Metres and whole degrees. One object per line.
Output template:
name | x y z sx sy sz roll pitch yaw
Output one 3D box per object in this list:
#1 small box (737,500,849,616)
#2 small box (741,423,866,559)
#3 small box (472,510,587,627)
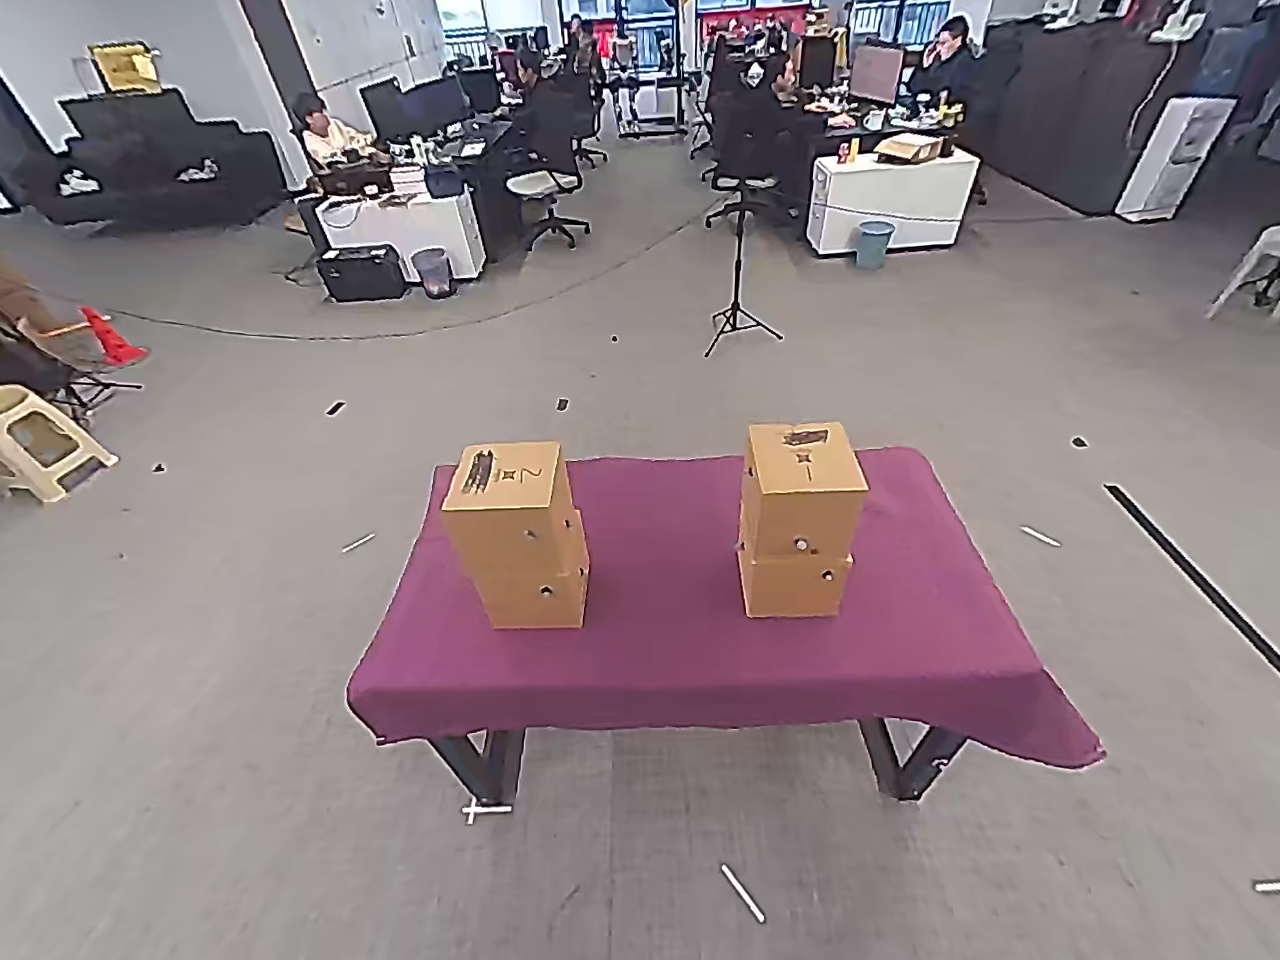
small box | 0.283 0.149 1.046 0.179 0.176 0.168 -2 42 3
small box | 0.271 0.019 0.944 0.168 0.176 0.179 -2 43 3
small box | -0.204 0.175 1.060 0.179 0.176 0.168 -1 42 4
